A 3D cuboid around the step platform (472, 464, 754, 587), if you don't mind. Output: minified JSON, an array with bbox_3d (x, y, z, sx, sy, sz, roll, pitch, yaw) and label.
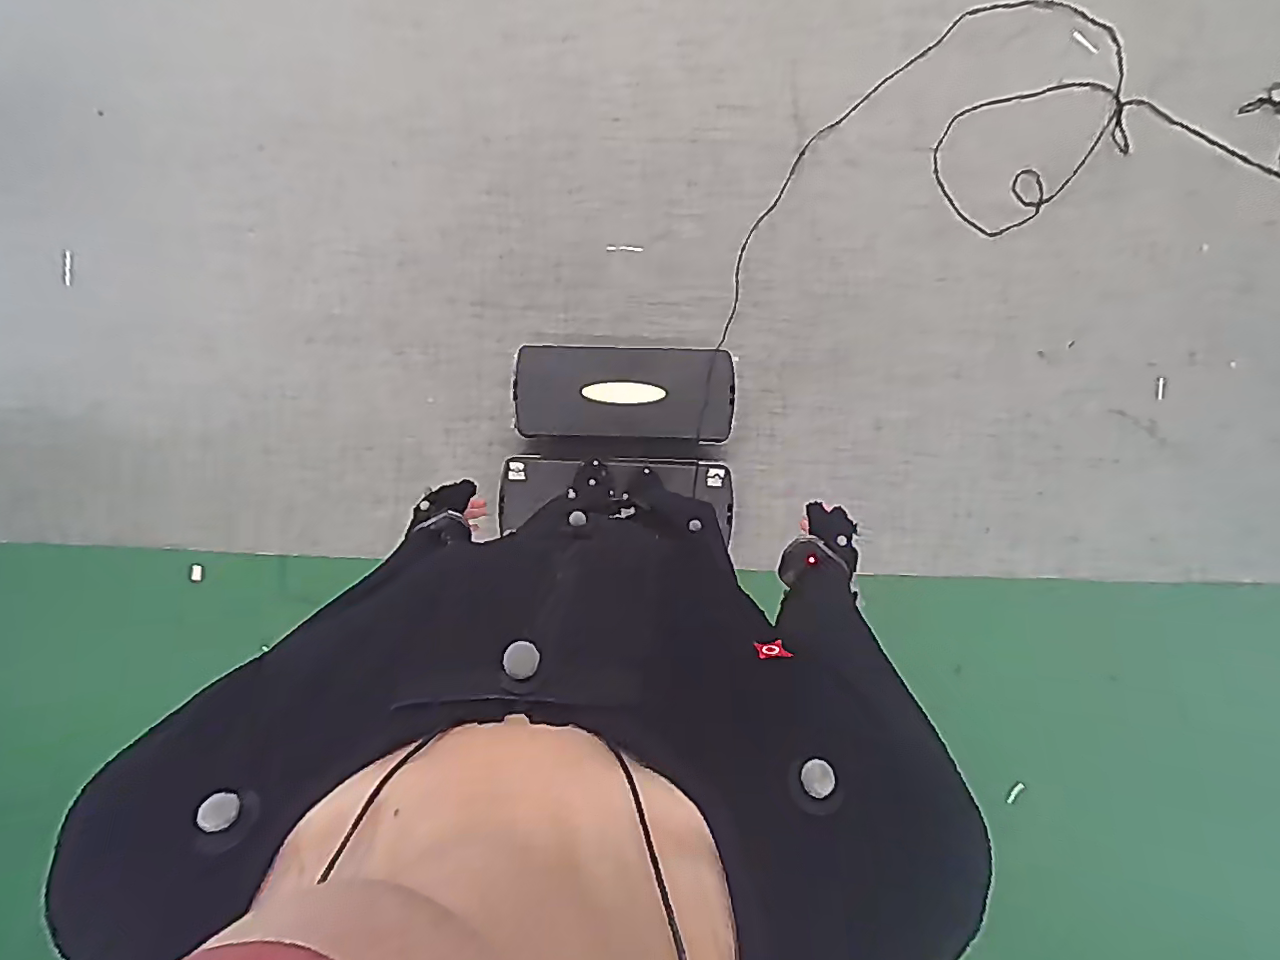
[{"bbox_3d":[-0.064,0.109,1.396,0.684,0.204,0.286,1,91,-1],"label":"step platform"}]
